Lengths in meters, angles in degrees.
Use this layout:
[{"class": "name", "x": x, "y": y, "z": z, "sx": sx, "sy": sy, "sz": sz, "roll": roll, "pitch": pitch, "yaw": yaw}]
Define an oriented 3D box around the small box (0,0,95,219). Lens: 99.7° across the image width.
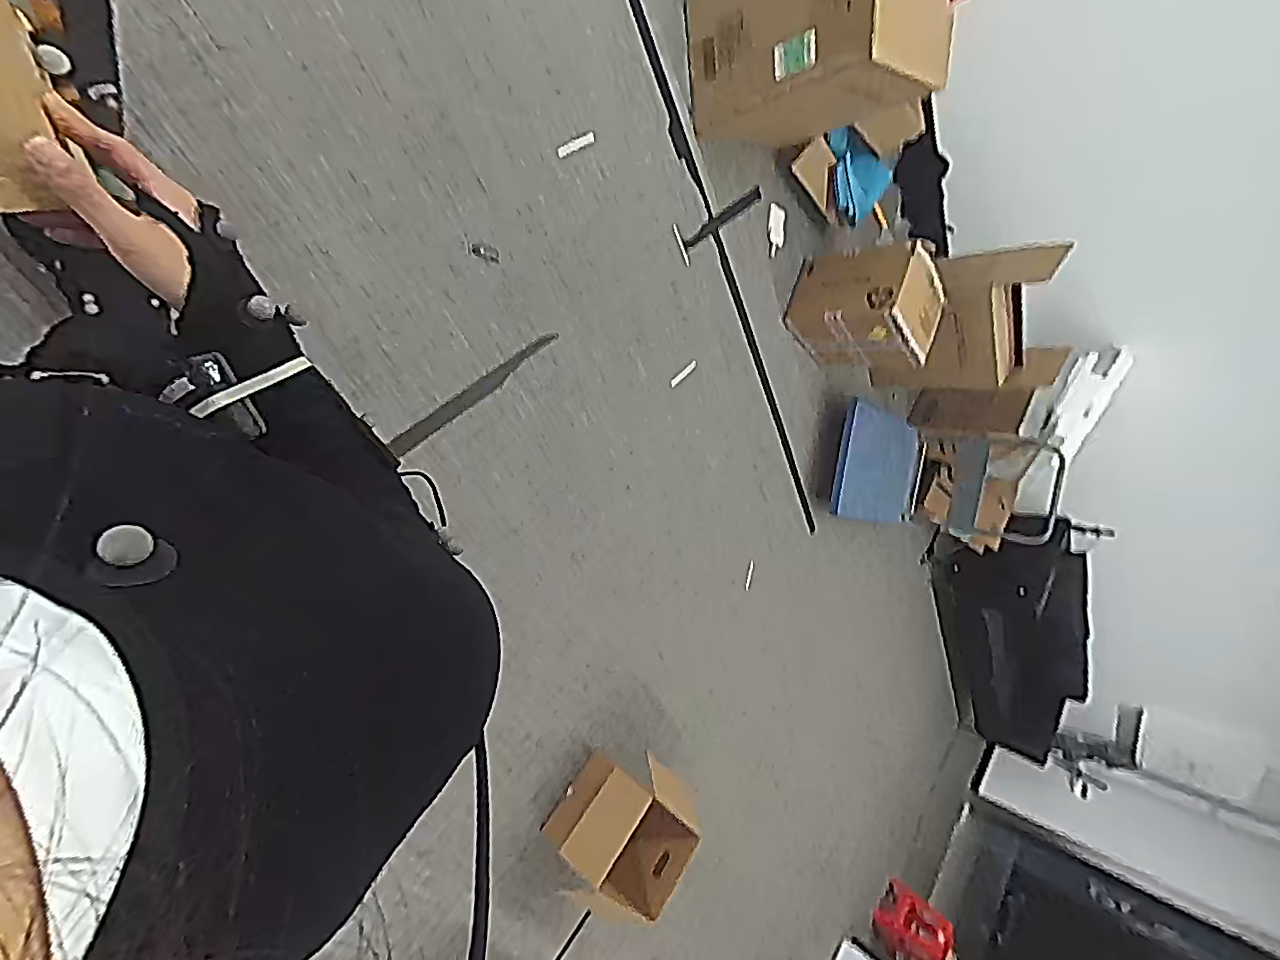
[{"class": "small box", "x": -0.429, "y": -0.229, "z": 0.273, "sx": 0.179, "sy": 0.176, "sz": 0.168, "roll": -22, "pitch": 130, "yaw": -32}]
